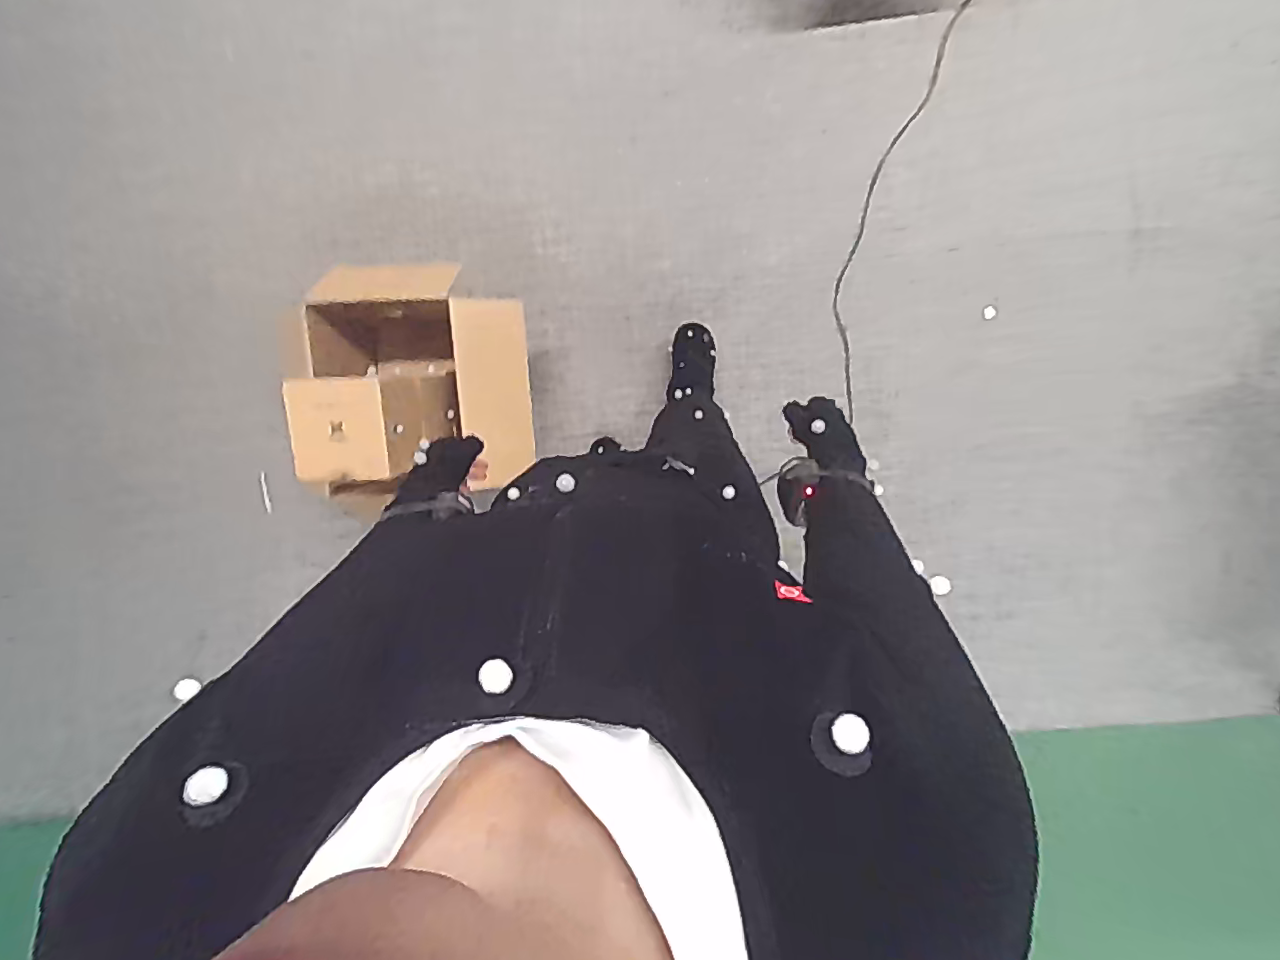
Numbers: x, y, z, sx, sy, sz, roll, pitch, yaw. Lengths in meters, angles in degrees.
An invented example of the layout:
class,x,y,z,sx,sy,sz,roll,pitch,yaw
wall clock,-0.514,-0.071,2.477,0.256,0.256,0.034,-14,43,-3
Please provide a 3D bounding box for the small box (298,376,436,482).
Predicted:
class,x,y,z,sx,sy,sz,roll,pitch,yaw
small box,-0.500,-0.101,1.019,0.168,0.176,0.179,-3,102,0
